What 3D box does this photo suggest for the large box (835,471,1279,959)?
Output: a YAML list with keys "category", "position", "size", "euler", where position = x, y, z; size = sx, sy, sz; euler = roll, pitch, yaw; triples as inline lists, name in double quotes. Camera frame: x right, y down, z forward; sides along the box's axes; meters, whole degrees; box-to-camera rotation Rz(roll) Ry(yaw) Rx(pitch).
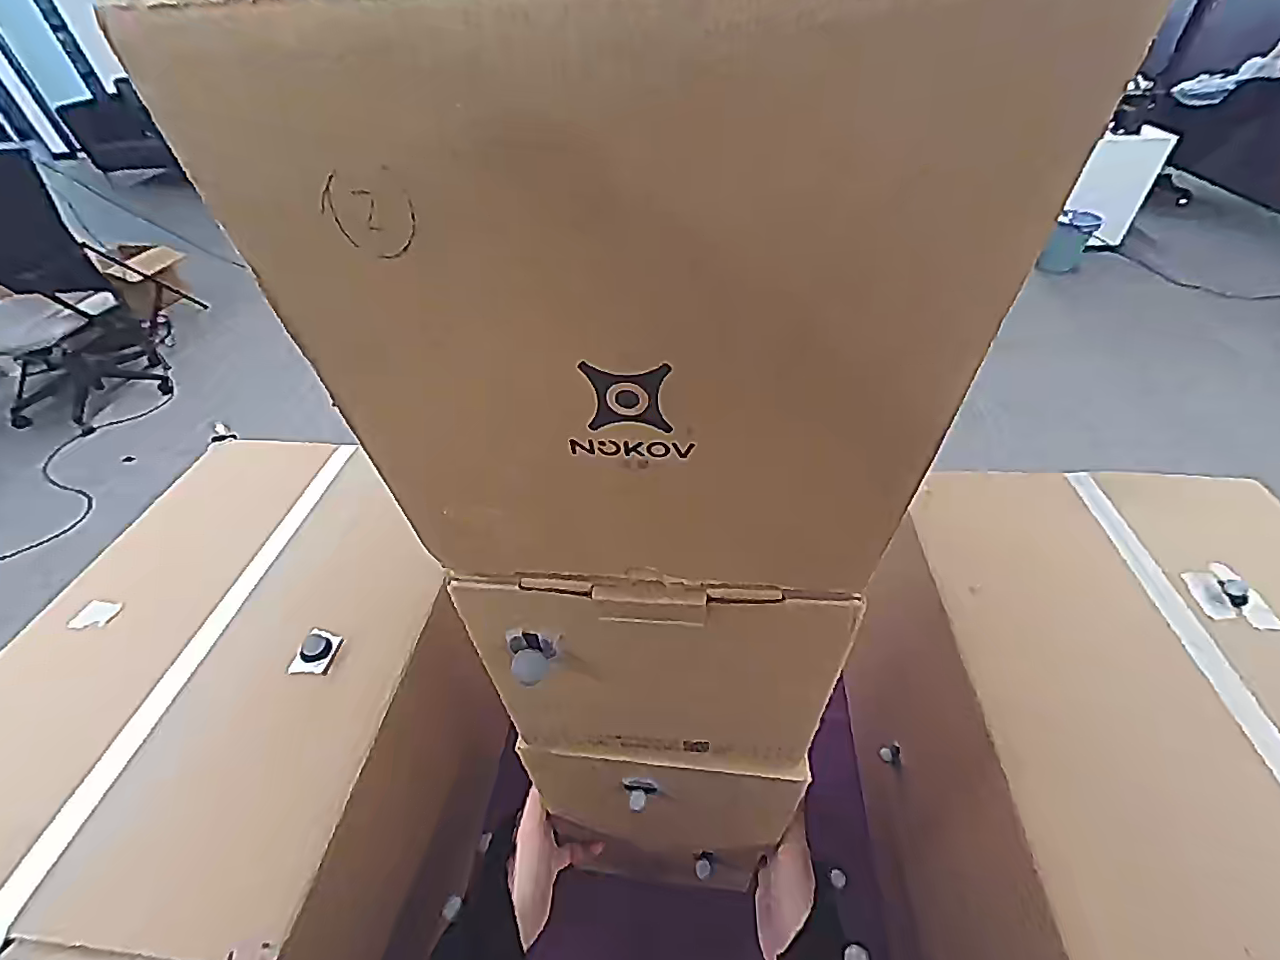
- category: "large box"
  position: [0.382, 0.241, 0.462]
  size: [0.320, 0.320, 0.408]
  euler: [2, 42, 5]
